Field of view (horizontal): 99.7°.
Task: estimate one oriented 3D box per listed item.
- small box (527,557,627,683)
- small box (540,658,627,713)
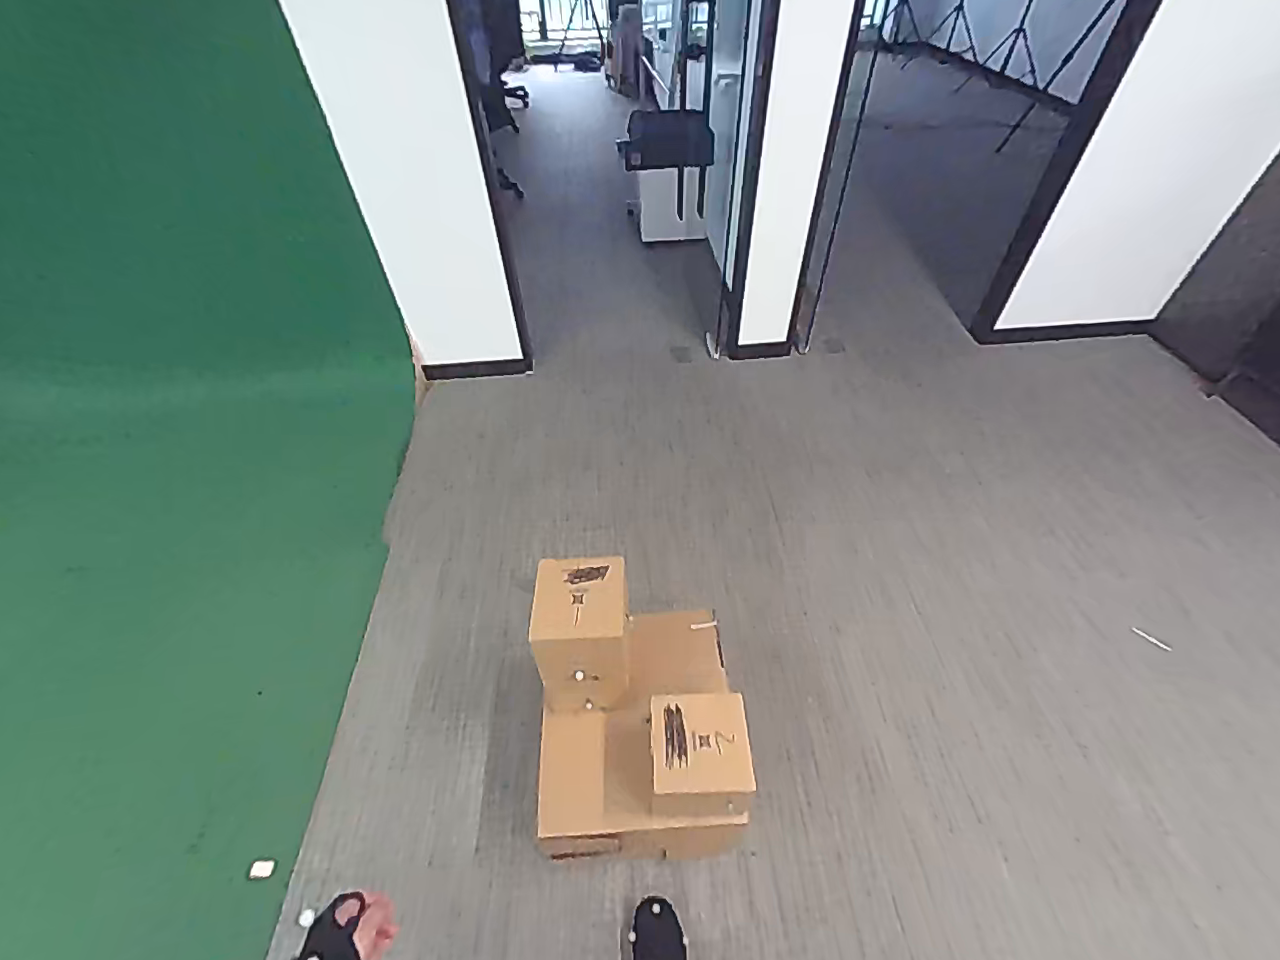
[{"bbox_3d":[-0.111,0.268,1.038,0.168,0.176,0.179,-2,44,1],"label":"small box"},{"bbox_3d":[-0.115,0.377,1.163,0.168,0.176,0.179,-4,44,-1],"label":"small box"}]
